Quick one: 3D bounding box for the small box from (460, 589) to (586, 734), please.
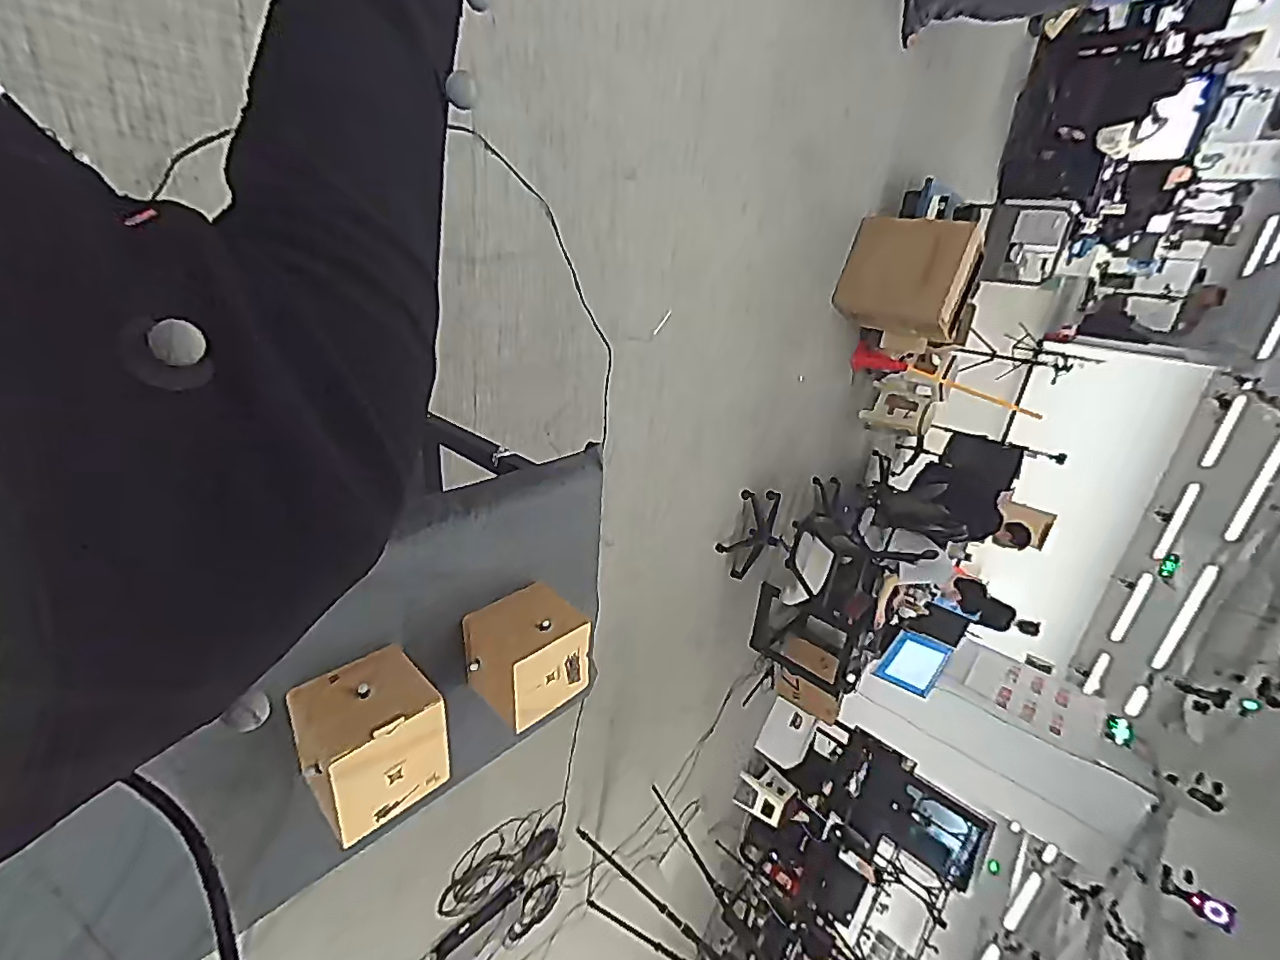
[{"bbox_3d":[-0.225,0.338,1.046,0.179,0.176,0.168,-20,124,-43],"label":"small box"}]

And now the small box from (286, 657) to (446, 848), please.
[{"bbox_3d":[-0.423,0.402,0.839,0.168,0.176,0.179,-19,122,-45],"label":"small box"}]
